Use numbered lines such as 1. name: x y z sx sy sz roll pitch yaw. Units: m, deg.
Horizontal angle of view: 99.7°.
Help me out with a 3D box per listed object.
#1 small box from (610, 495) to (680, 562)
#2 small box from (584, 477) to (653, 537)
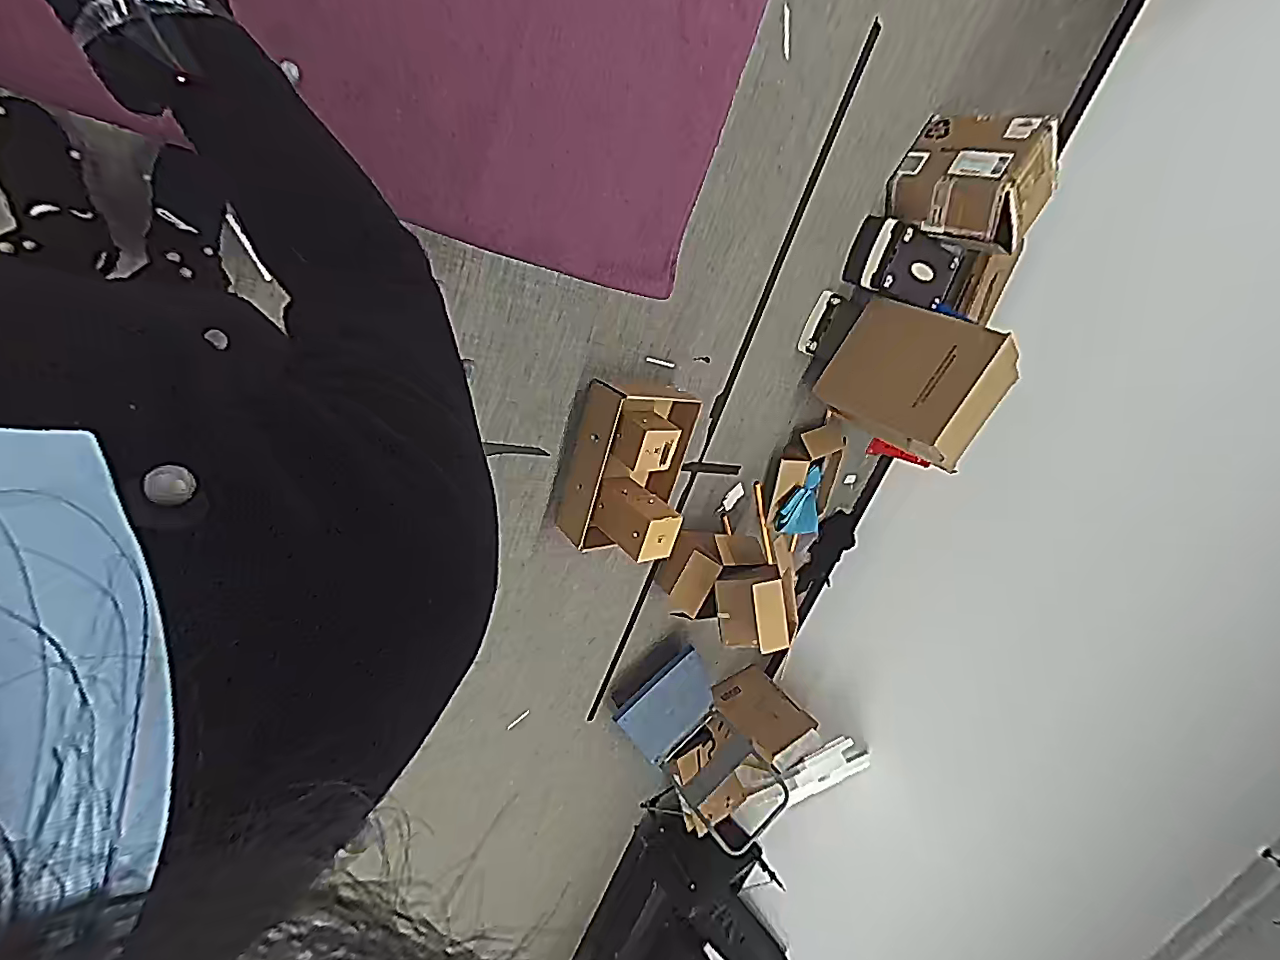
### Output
1. small box: 0.012 0.171 1.968 0.168 0.176 0.179 -3 119 -43
2. small box: -0.087 0.098 2.074 0.179 0.176 0.168 -3 120 -44
